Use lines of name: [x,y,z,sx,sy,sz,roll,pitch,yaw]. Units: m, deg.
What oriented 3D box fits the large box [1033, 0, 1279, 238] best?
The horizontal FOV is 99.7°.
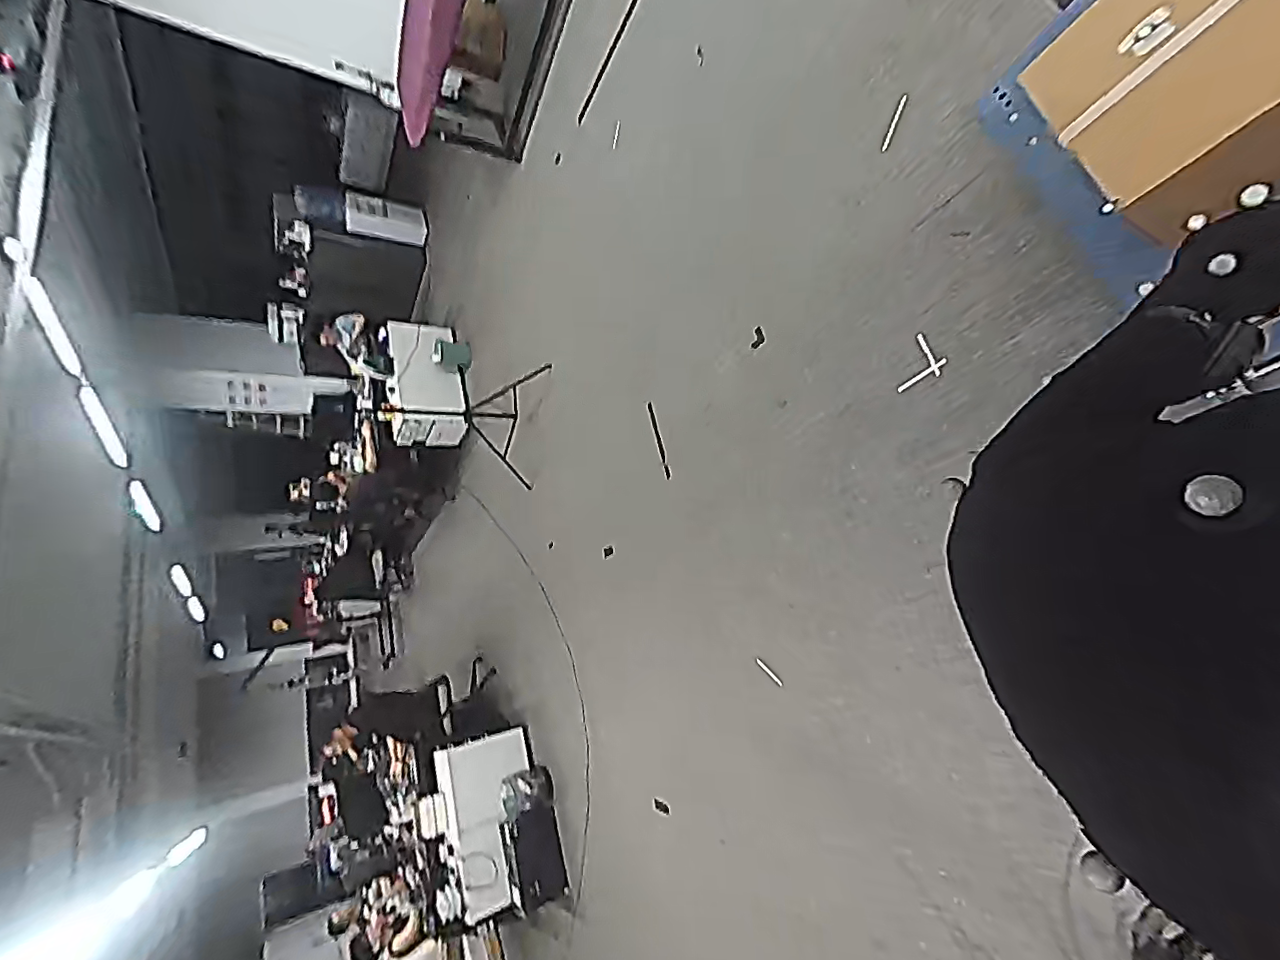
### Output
large box: [0.923,-0.645,0.797,0.408,0.320,0.320,-41,58,50]
